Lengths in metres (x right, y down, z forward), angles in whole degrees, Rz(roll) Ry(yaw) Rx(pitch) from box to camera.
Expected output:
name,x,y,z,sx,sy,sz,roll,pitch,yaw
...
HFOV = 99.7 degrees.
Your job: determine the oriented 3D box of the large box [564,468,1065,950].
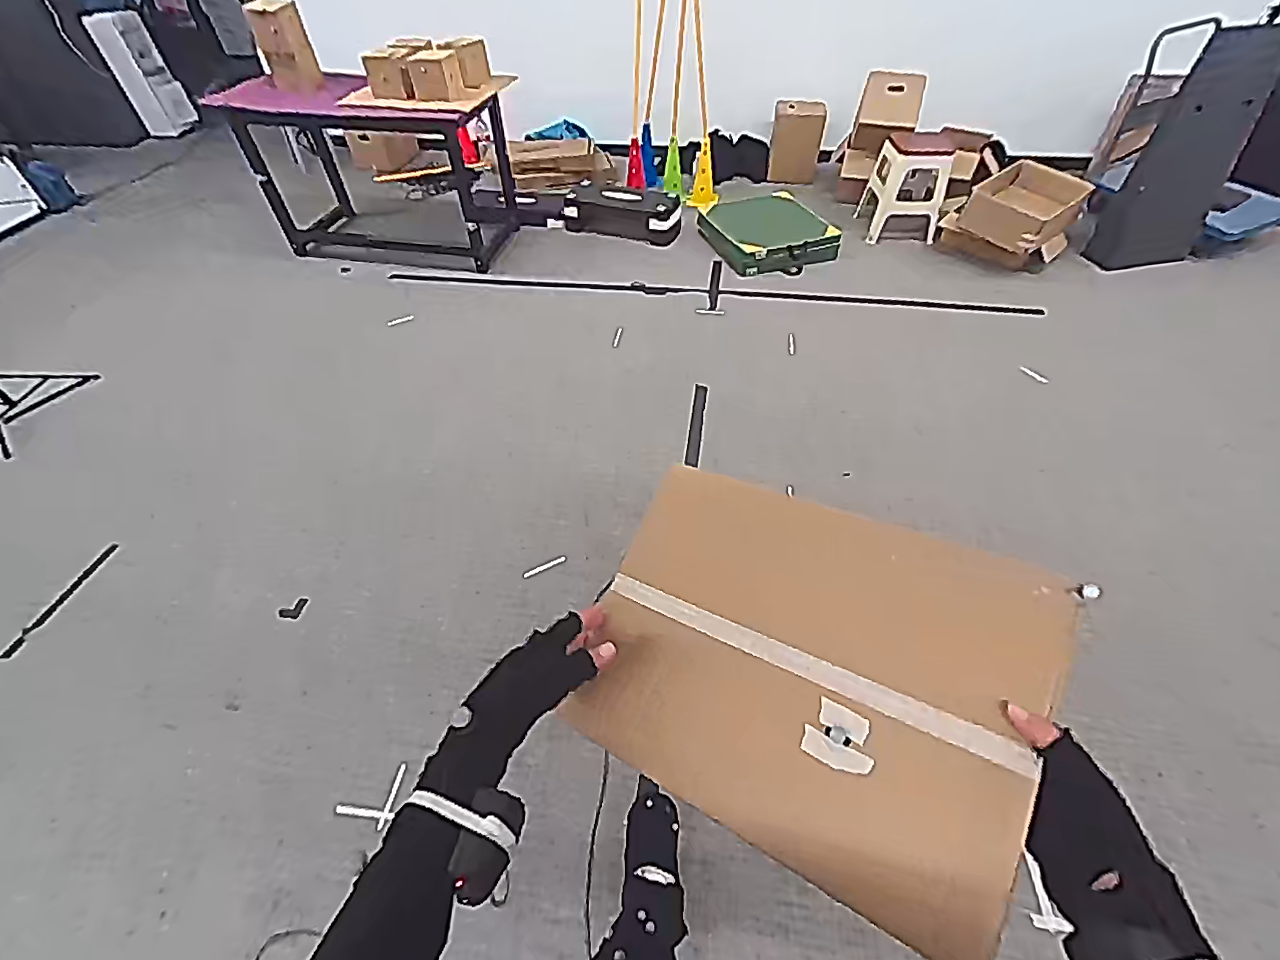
name,x,y,z,sx,sy,sz,roll,pitch,yaw
large box,0.195,0.225,0.651,0.408,0.320,0.320,17,75,29
